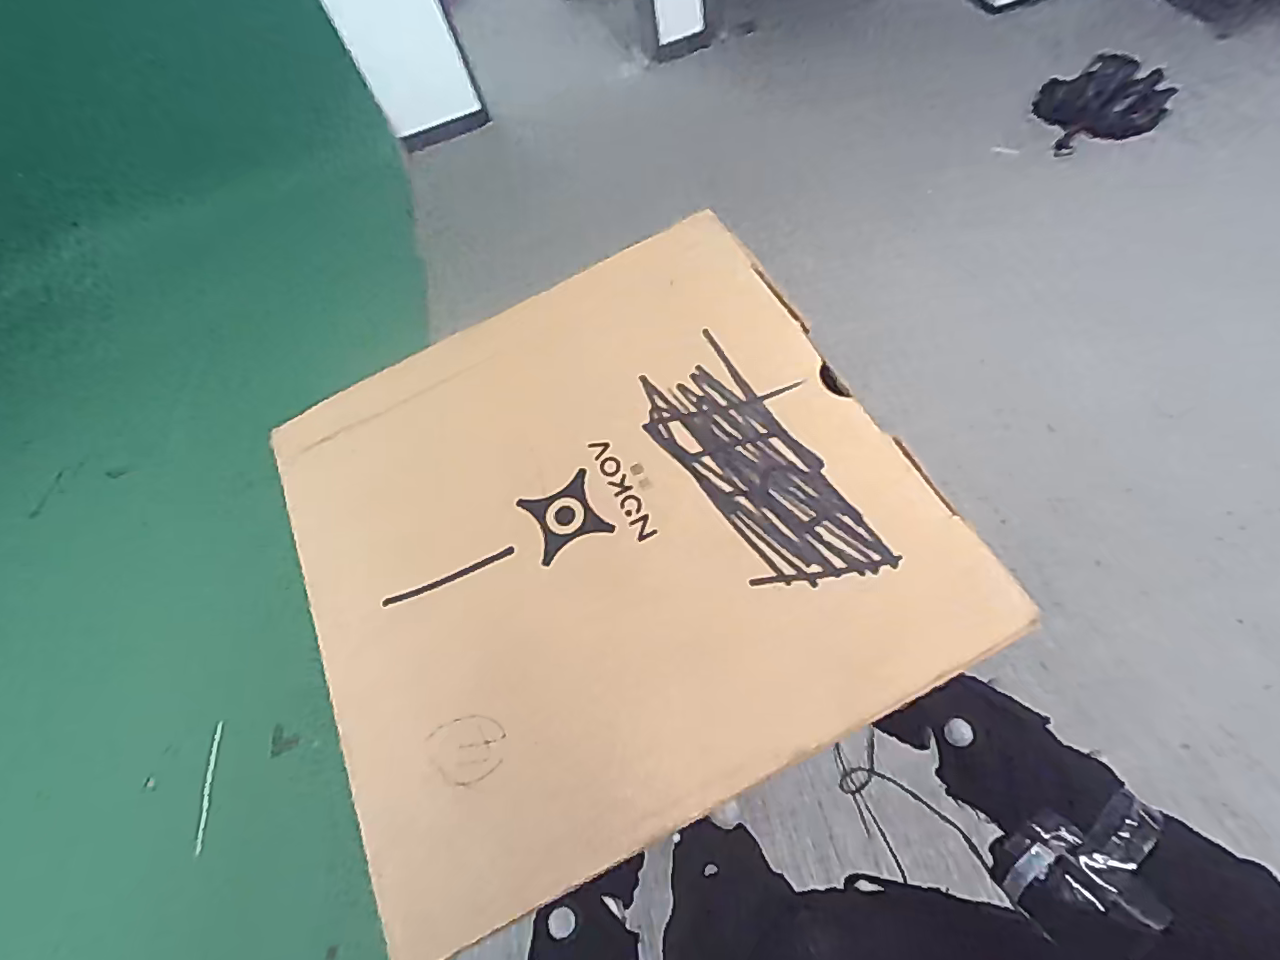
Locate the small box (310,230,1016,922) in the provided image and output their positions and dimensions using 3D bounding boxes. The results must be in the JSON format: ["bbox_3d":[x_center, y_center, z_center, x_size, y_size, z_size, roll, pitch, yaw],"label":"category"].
[{"bbox_3d":[0.002,0.036,0.245,0.179,0.176,0.168,-29,66,-6],"label":"small box"}]
